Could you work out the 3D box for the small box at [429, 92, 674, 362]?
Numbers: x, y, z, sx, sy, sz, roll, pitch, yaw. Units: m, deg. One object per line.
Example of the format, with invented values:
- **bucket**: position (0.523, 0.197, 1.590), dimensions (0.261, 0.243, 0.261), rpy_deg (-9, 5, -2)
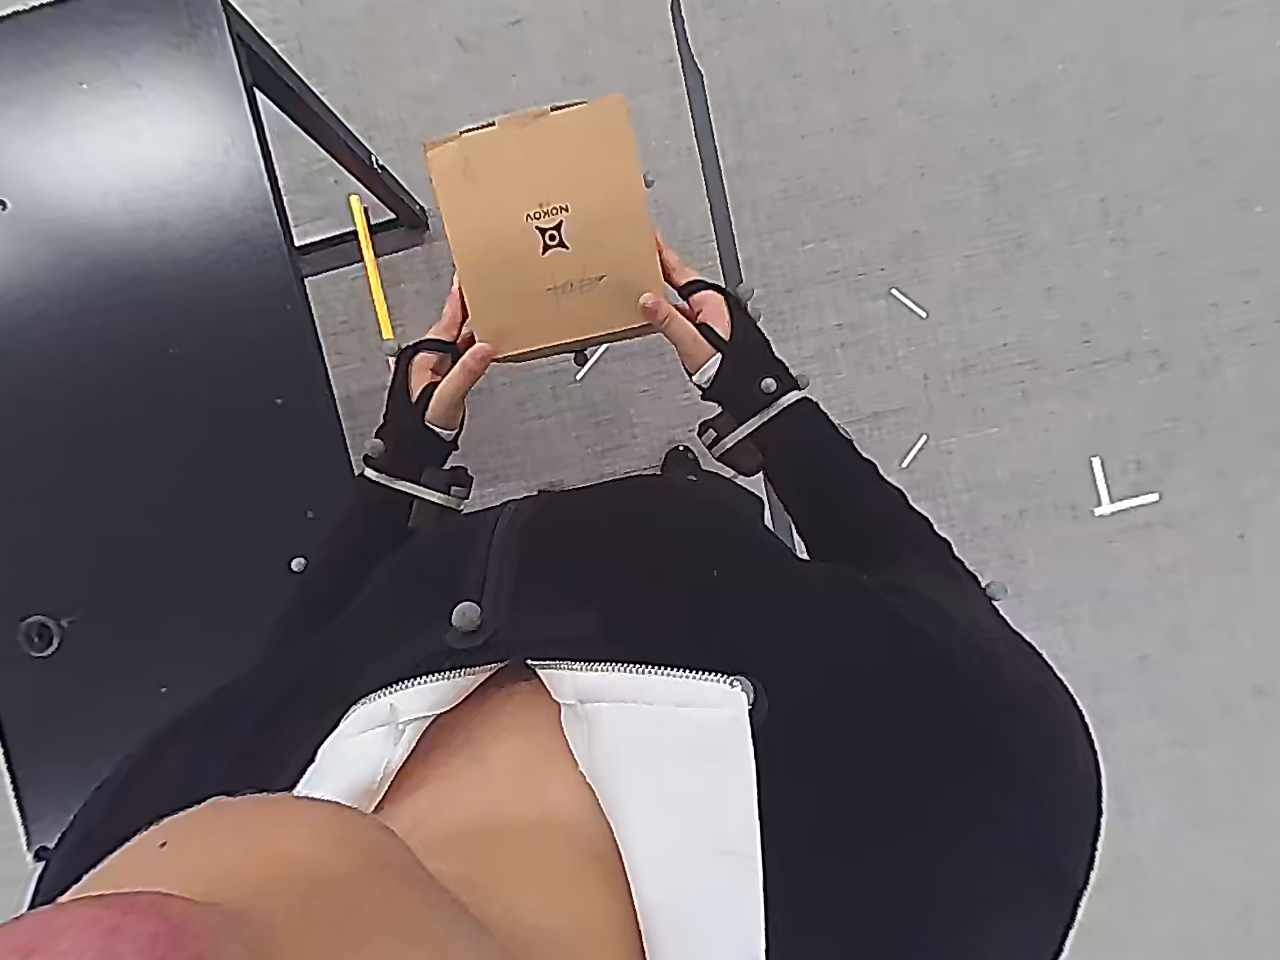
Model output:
- **small box**: position (-0.068, -0.212, 0.505), dimensions (0.168, 0.176, 0.179), rpy_deg (-12, 102, 3)
